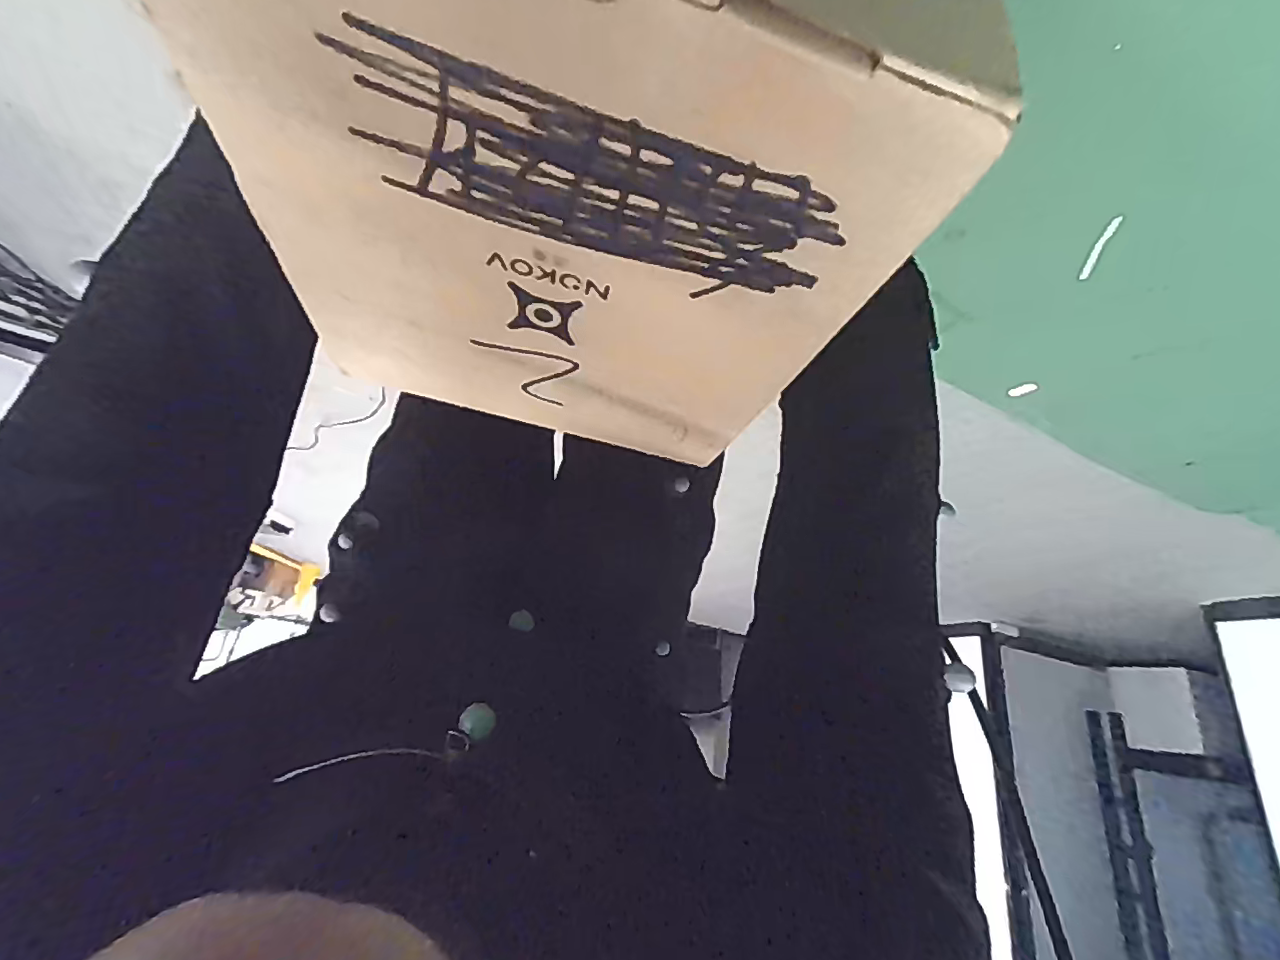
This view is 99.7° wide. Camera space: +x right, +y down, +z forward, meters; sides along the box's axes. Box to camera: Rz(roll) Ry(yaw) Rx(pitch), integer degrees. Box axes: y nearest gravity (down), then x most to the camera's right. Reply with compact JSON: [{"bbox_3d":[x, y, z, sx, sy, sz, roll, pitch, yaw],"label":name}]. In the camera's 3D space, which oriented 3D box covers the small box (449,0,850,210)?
[{"bbox_3d":[0.015,-0.277,0.254,0.168,0.176,0.179,13,157,-9],"label":"small box"}]
